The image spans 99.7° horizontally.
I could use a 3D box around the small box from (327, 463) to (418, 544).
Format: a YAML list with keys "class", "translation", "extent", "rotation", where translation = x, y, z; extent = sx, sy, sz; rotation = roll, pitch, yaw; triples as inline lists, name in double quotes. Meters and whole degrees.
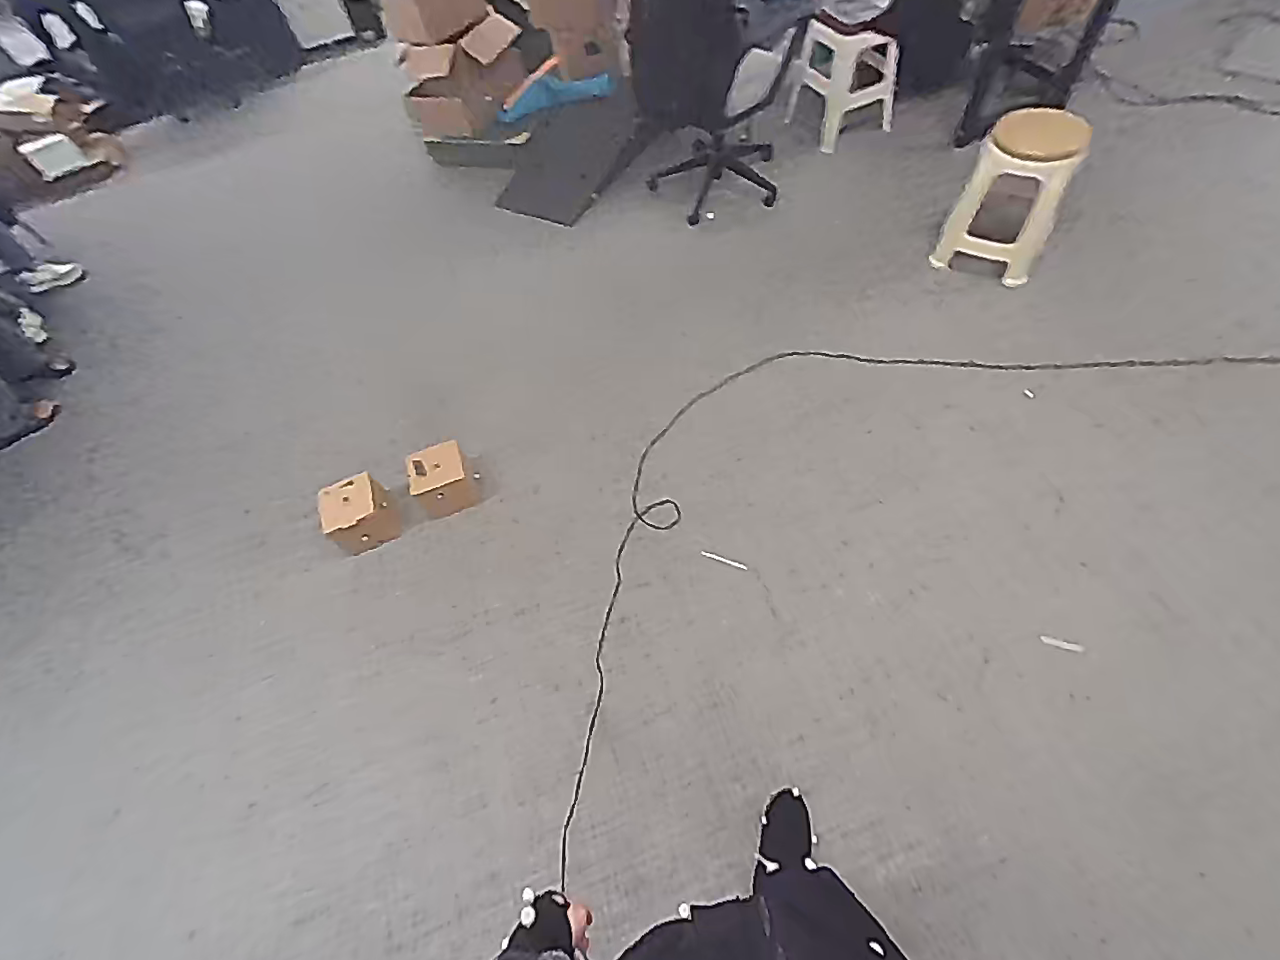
- class: "small box"
  translation: [-0.878, 0.082, 1.790]
  extent: [0.168, 0.176, 0.179]
  rotation: [29, 69, 26]

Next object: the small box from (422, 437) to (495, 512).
- class: "small box"
  translation: [-0.607, -0.013, 1.811]
  extent: [0.179, 0.176, 0.168]
  rotation: [-17, 60, -1]
